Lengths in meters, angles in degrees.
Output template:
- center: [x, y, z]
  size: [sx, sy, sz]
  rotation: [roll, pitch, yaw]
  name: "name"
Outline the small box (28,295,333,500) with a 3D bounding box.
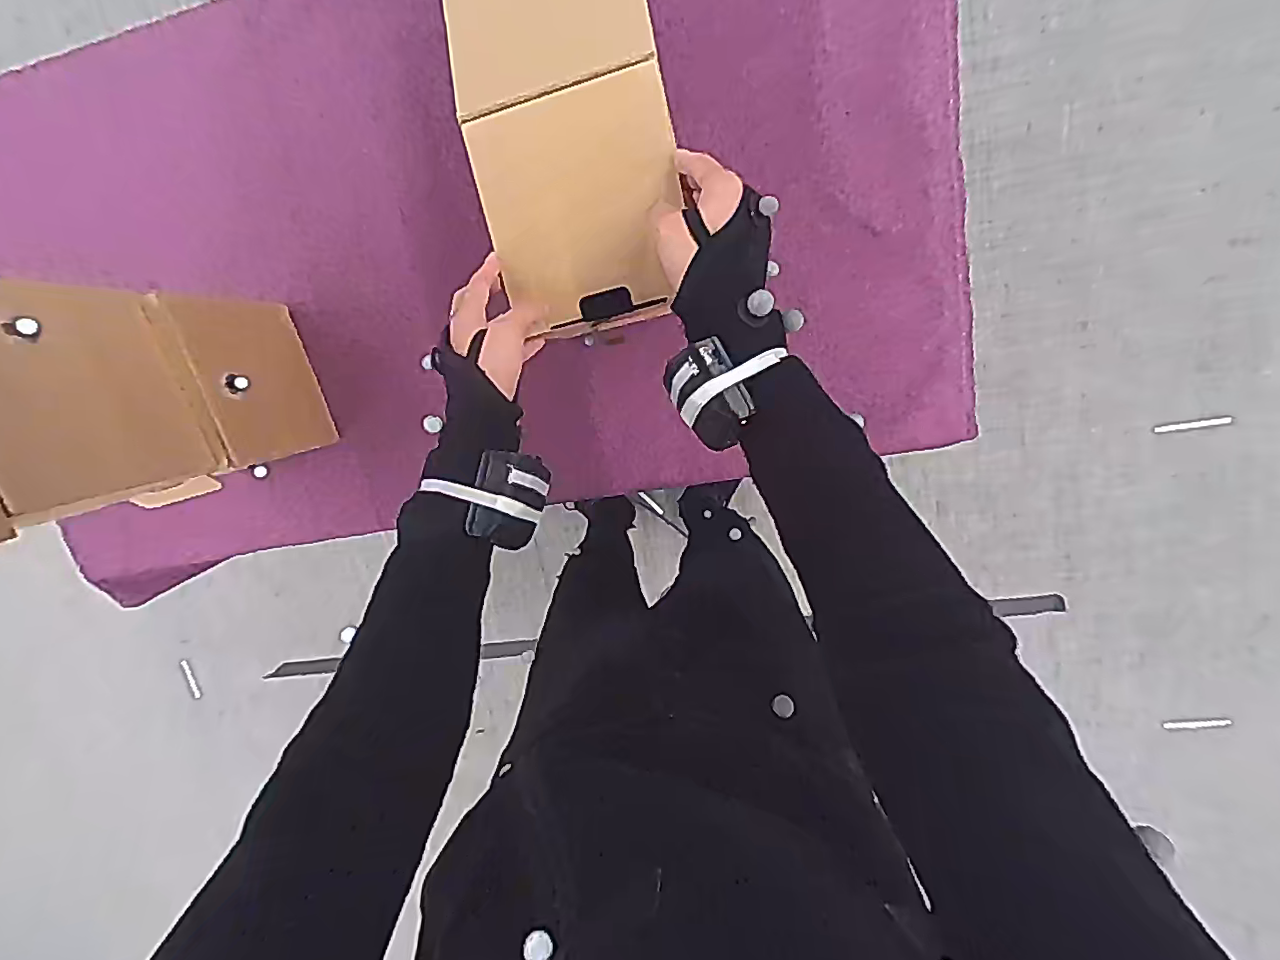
- center: [-0.490, -0.096, 0.609]
  size: [0.168, 0.176, 0.179]
  rotation: [-13, 102, 9]
  name: "small box"
